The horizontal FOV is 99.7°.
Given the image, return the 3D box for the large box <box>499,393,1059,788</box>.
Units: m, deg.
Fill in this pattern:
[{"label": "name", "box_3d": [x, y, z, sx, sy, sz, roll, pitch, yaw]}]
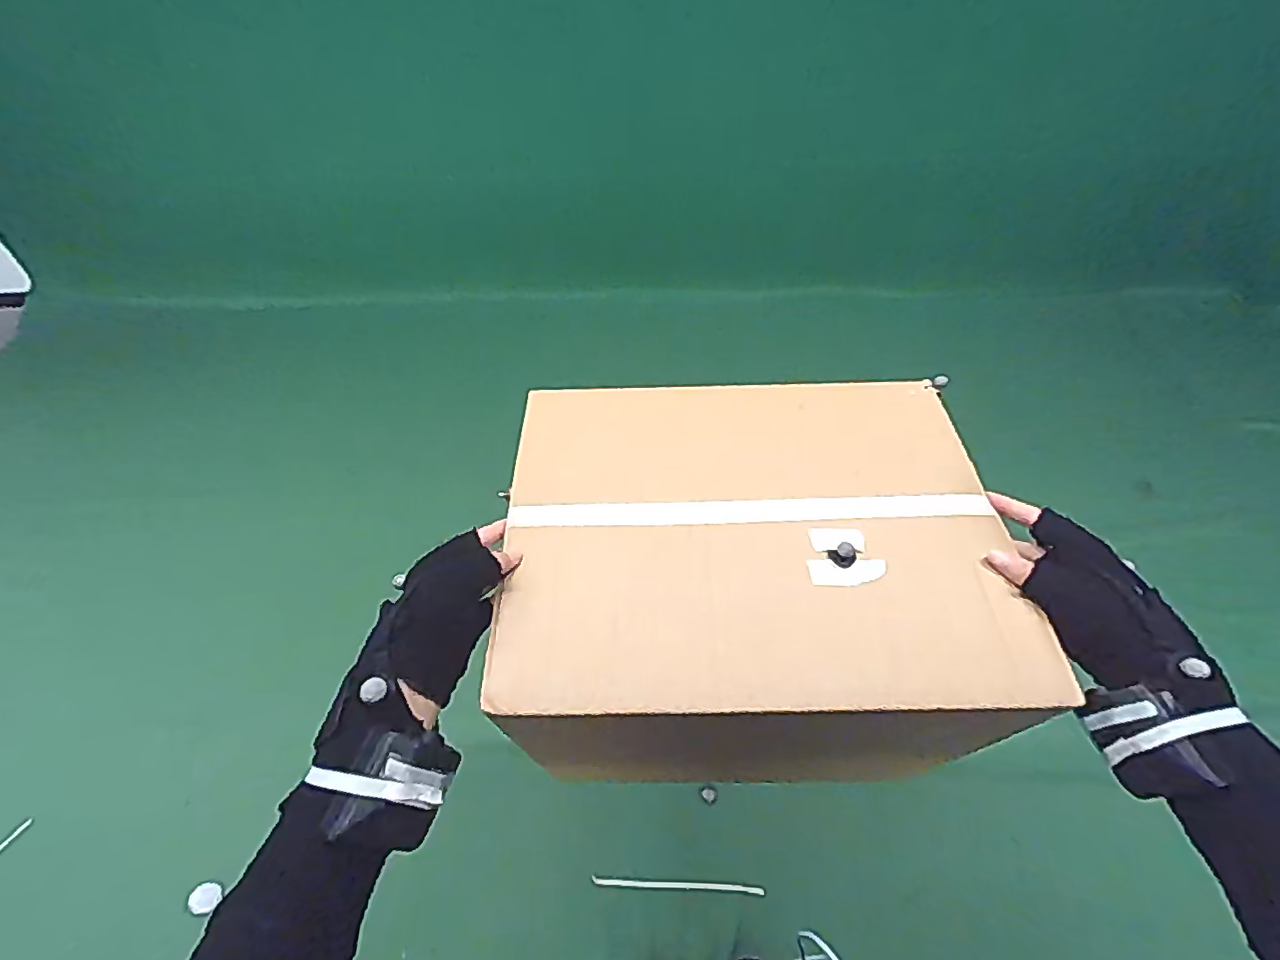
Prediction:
[{"label": "large box", "box_3d": [0.097, 0.129, 0.585, 0.408, 0.320, 0.320, -2, 53, 1]}]
